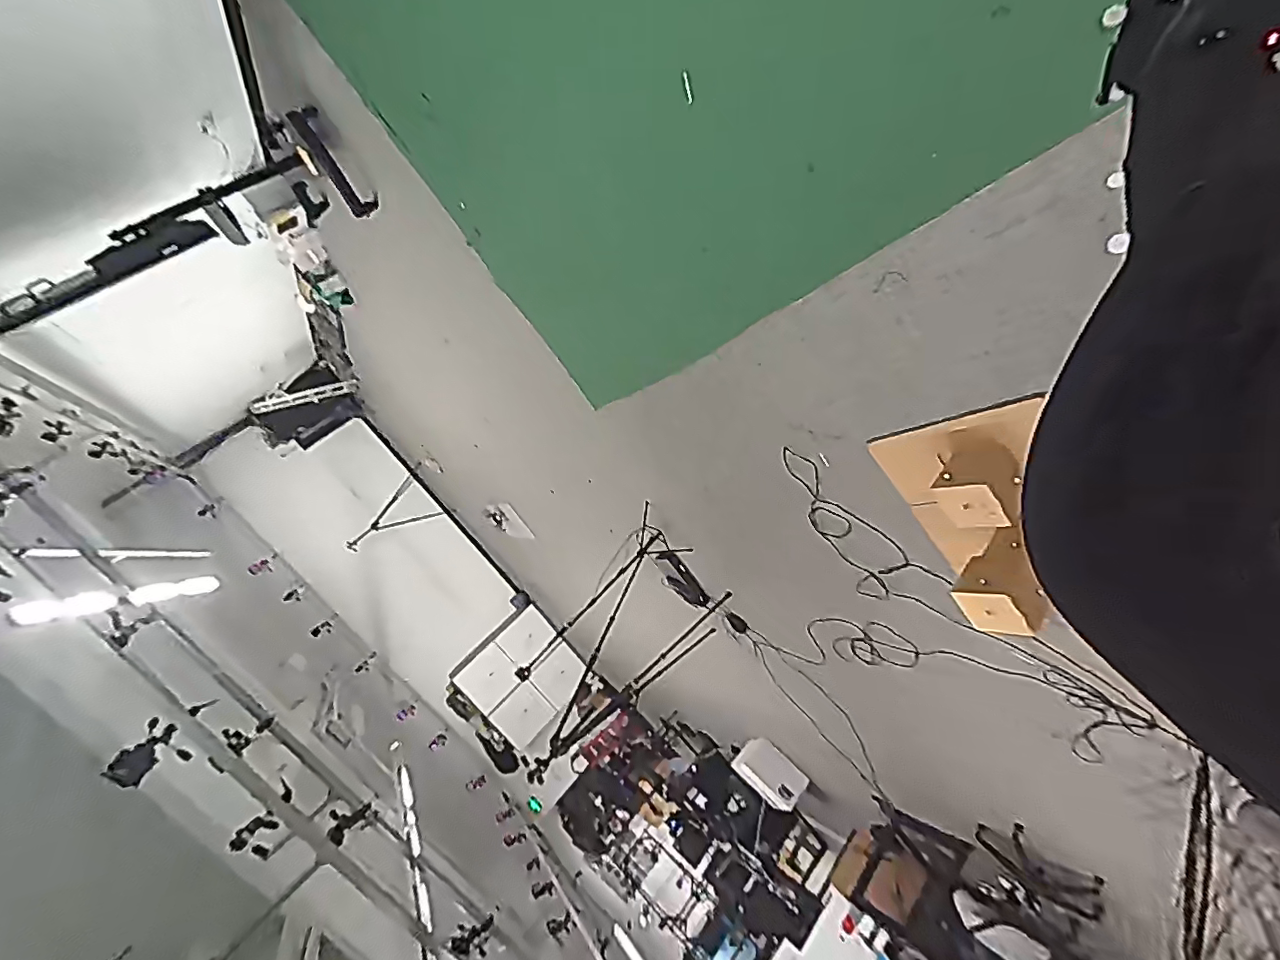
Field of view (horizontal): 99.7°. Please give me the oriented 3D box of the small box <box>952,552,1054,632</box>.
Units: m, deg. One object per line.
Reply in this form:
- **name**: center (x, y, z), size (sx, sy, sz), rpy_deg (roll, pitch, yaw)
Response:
- **small box**: center (1.099, 0.331, 1.636), size (0.168, 0.176, 0.179), rpy_deg (51, 155, -10)

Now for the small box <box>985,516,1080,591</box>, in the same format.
- **small box**: center (1.221, 0.228, 1.679), size (0.168, 0.176, 0.179), rpy_deg (49, 155, -7)

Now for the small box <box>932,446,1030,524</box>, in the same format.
- **small box**: center (1.041, 0.017, 1.649), size (0.168, 0.176, 0.179), rpy_deg (51, 154, -14)
